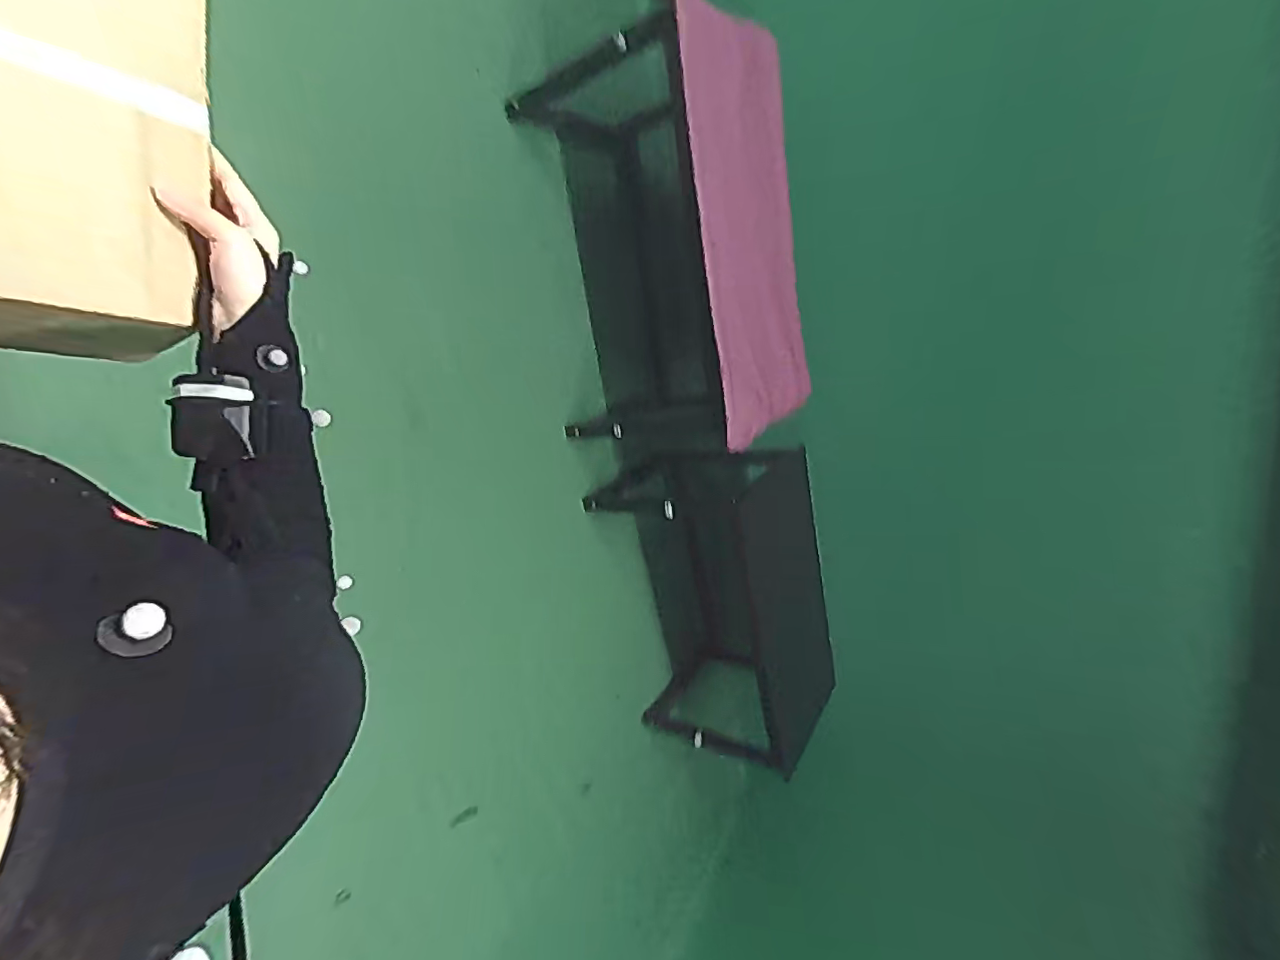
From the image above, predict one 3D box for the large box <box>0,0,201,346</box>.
[{"bbox_3d":[-0.588,-0.282,0.355,0.408,0.320,0.320,-4,97,-51],"label":"large box"}]
